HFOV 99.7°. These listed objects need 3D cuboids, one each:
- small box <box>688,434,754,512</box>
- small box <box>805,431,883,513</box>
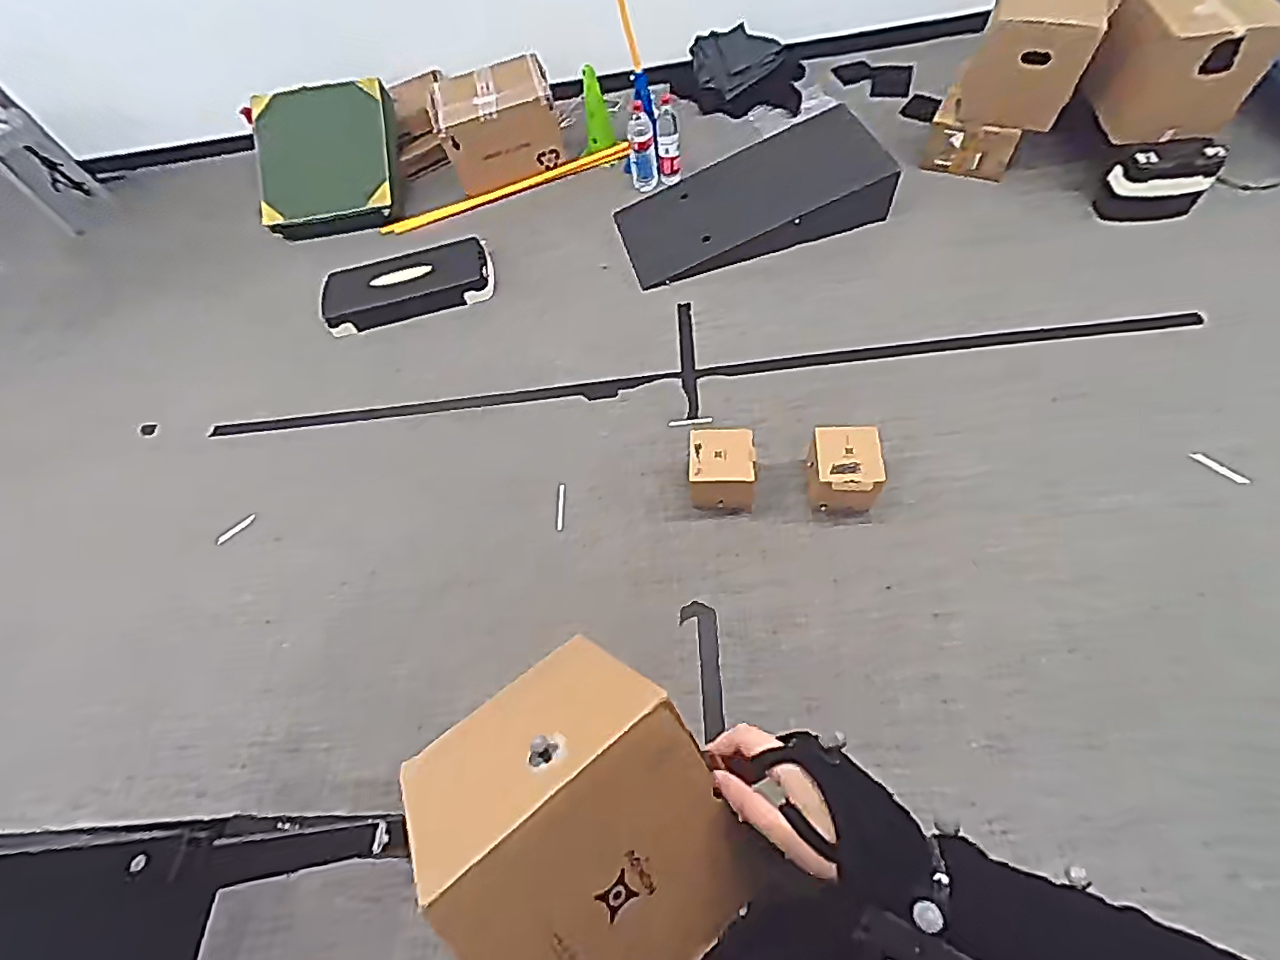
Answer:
[{"bbox_3d":[0.228,-0.017,1.539,0.179,0.176,0.168,0,61,7],"label":"small box"},{"bbox_3d":[0.557,-0.019,1.495,0.168,0.176,0.179,1,60,8],"label":"small box"}]
